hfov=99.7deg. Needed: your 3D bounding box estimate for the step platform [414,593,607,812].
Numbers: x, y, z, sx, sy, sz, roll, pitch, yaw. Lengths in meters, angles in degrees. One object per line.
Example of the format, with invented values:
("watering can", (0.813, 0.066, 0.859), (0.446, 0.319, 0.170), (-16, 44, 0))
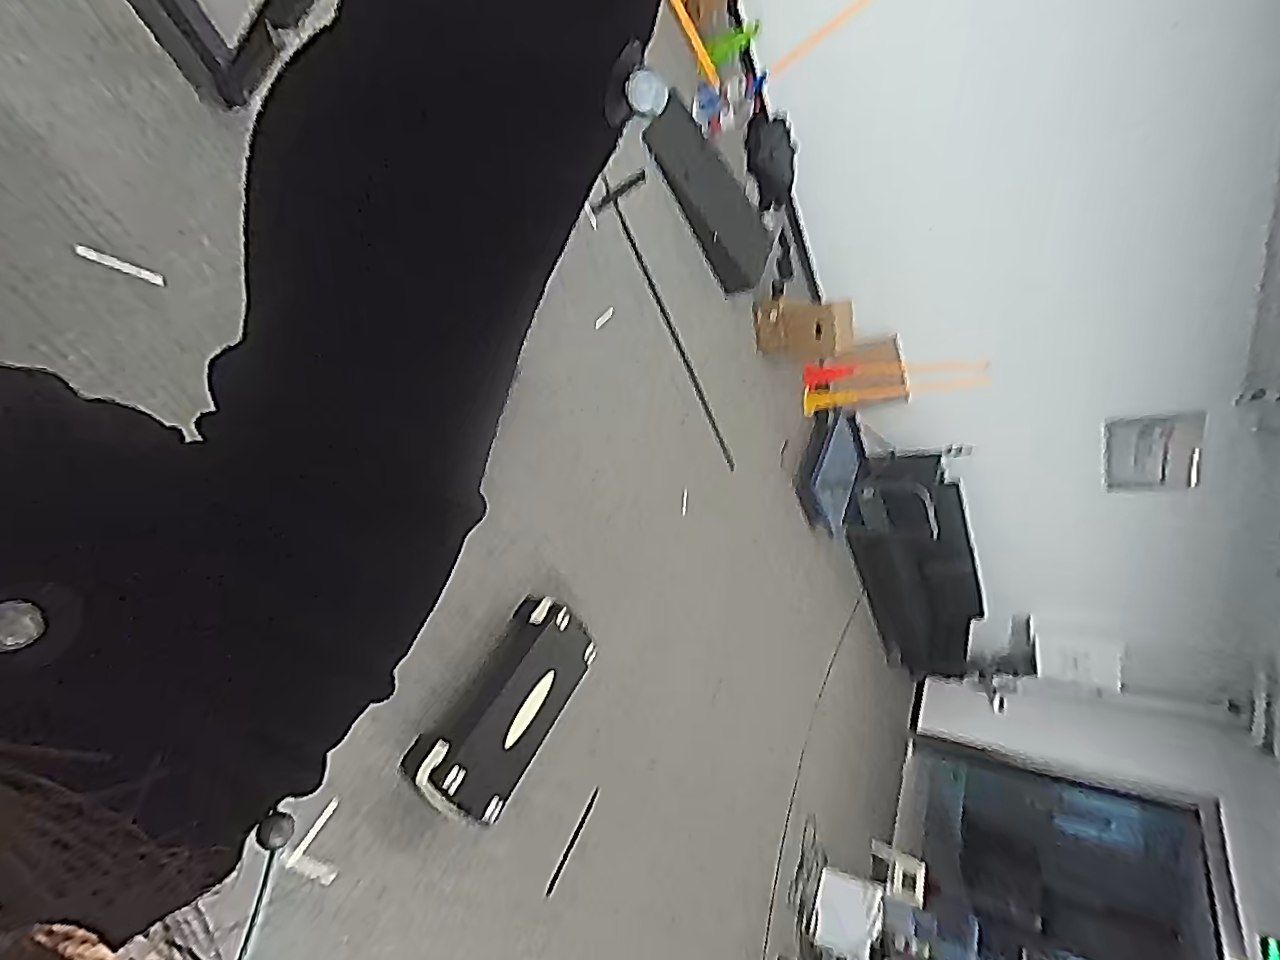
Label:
("step platform", (-0.386, 0.701, 1.790), (0.684, 0.204, 0.286), (-50, 125, -41))
